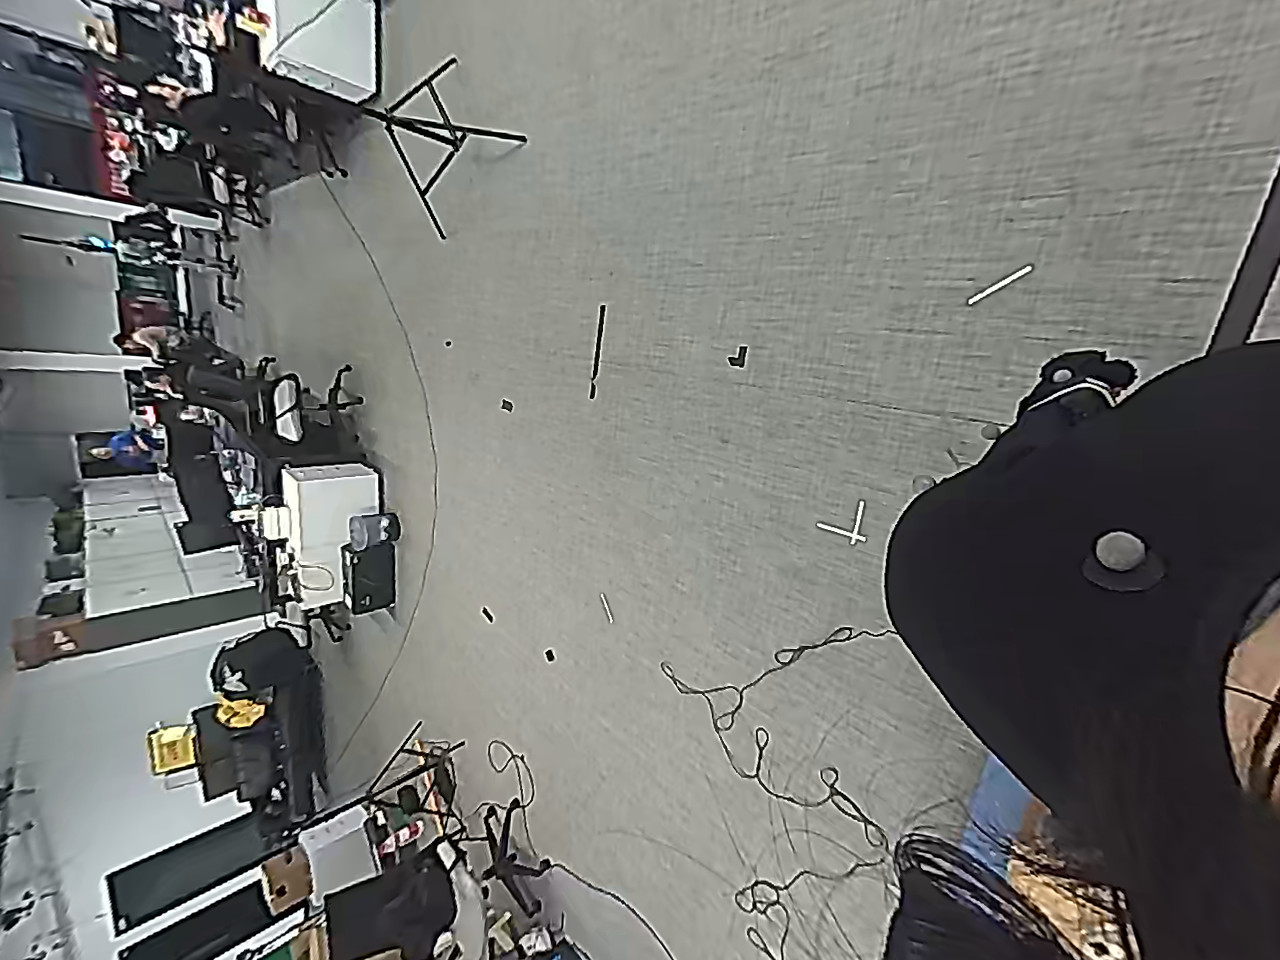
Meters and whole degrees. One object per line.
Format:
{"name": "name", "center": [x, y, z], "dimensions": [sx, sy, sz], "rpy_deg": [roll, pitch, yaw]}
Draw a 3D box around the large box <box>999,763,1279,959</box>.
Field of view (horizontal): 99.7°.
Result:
{"name": "large box", "center": [0.912, 0.788, 0.941], "dimensions": [0.408, 0.320, 0.320], "rpy_deg": [10, 102, 45]}
